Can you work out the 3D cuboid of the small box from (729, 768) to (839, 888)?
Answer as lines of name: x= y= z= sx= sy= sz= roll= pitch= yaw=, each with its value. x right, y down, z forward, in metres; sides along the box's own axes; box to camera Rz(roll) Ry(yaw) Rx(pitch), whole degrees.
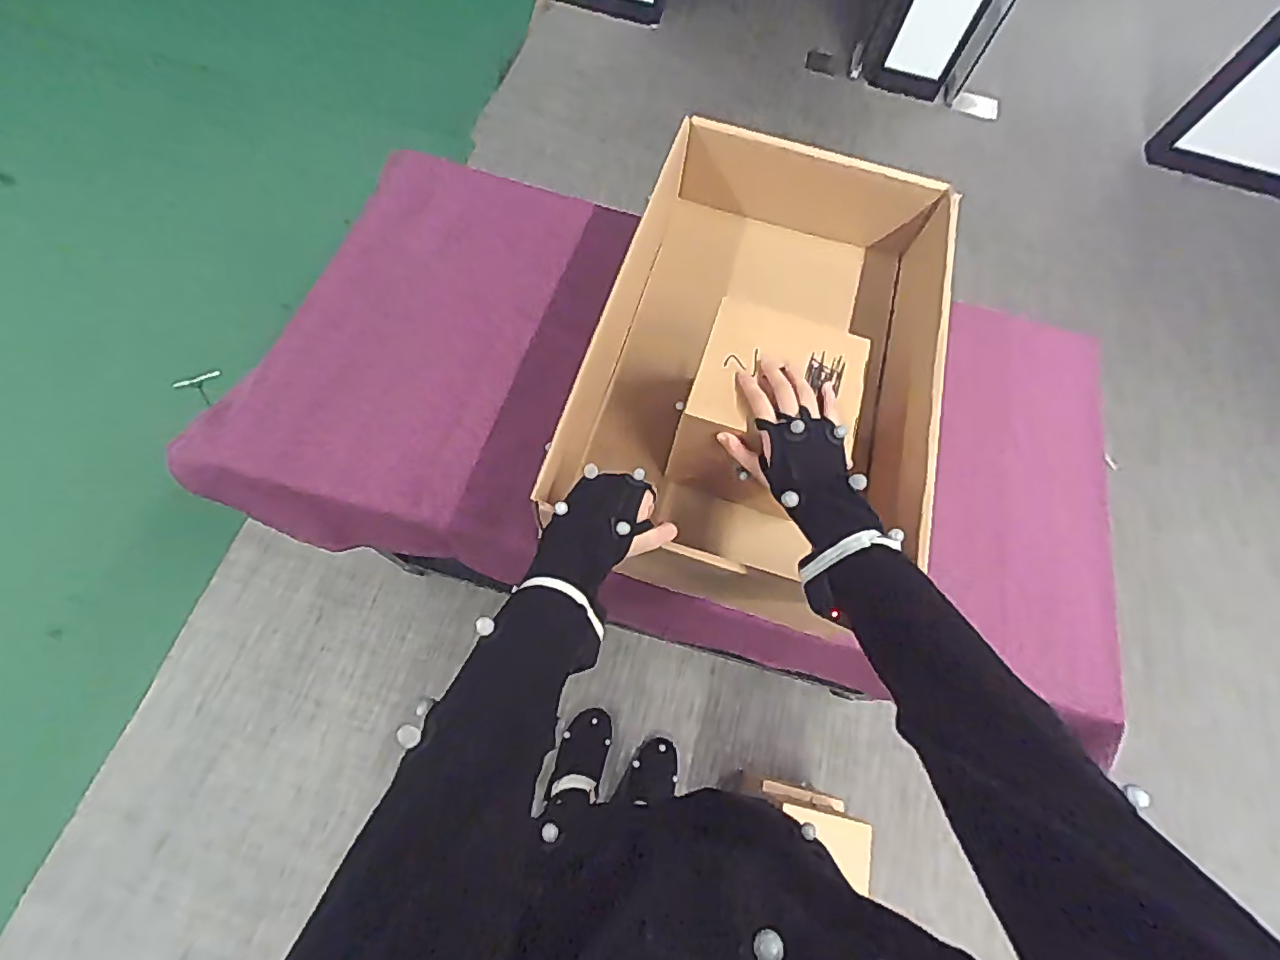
small box: x=0.309 y=0.745 z=1.179 sx=0.179 sy=0.176 sz=0.168 roll=15 pitch=68 yaw=2
